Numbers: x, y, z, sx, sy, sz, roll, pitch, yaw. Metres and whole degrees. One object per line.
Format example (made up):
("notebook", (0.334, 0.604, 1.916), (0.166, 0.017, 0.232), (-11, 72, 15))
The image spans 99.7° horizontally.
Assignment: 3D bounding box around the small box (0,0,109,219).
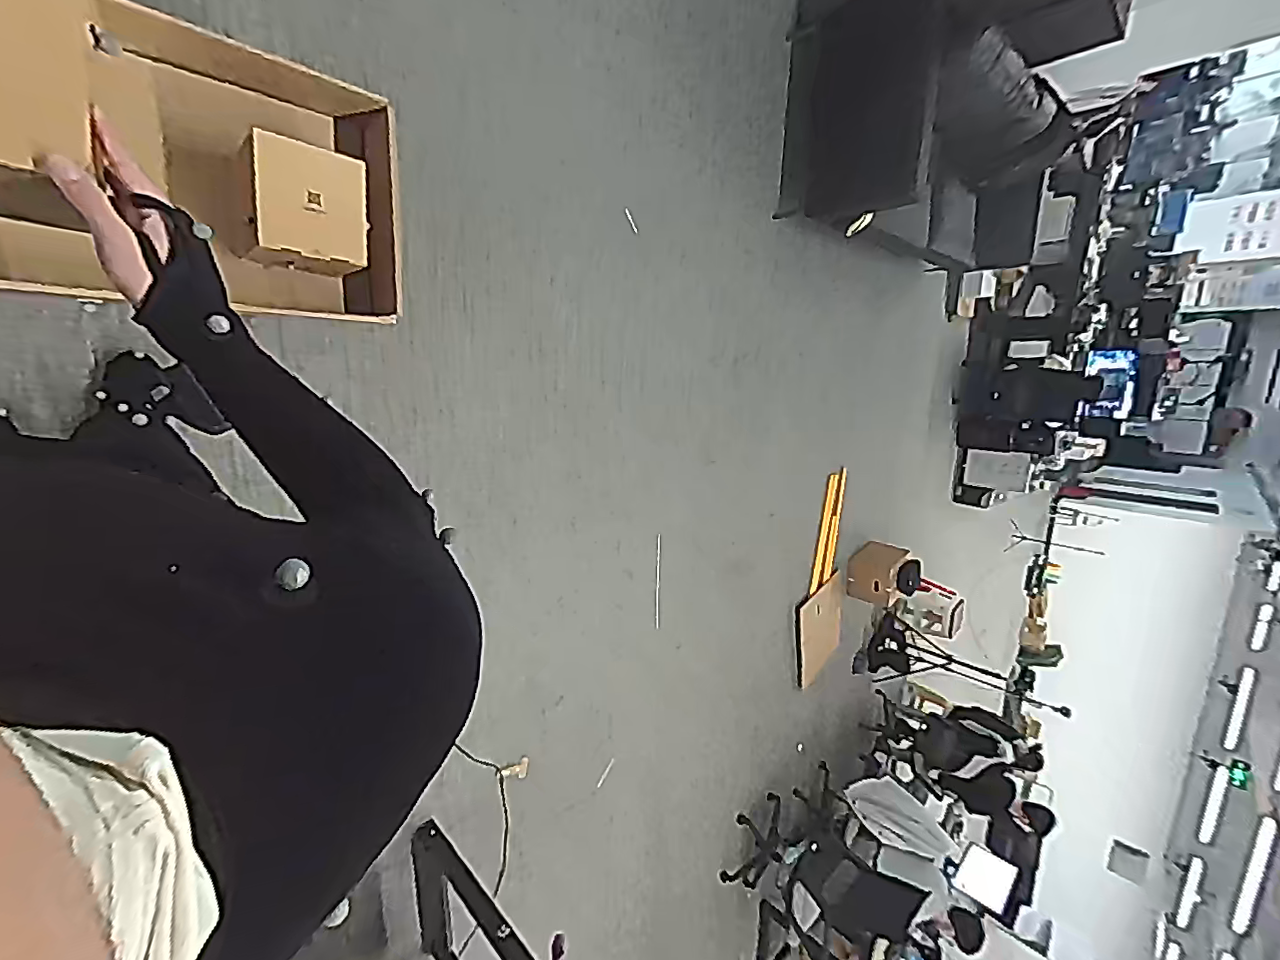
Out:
("small box", (-0.525, -0.327, 0.408), (0.168, 0.176, 0.179), (-1, 98, -41))
